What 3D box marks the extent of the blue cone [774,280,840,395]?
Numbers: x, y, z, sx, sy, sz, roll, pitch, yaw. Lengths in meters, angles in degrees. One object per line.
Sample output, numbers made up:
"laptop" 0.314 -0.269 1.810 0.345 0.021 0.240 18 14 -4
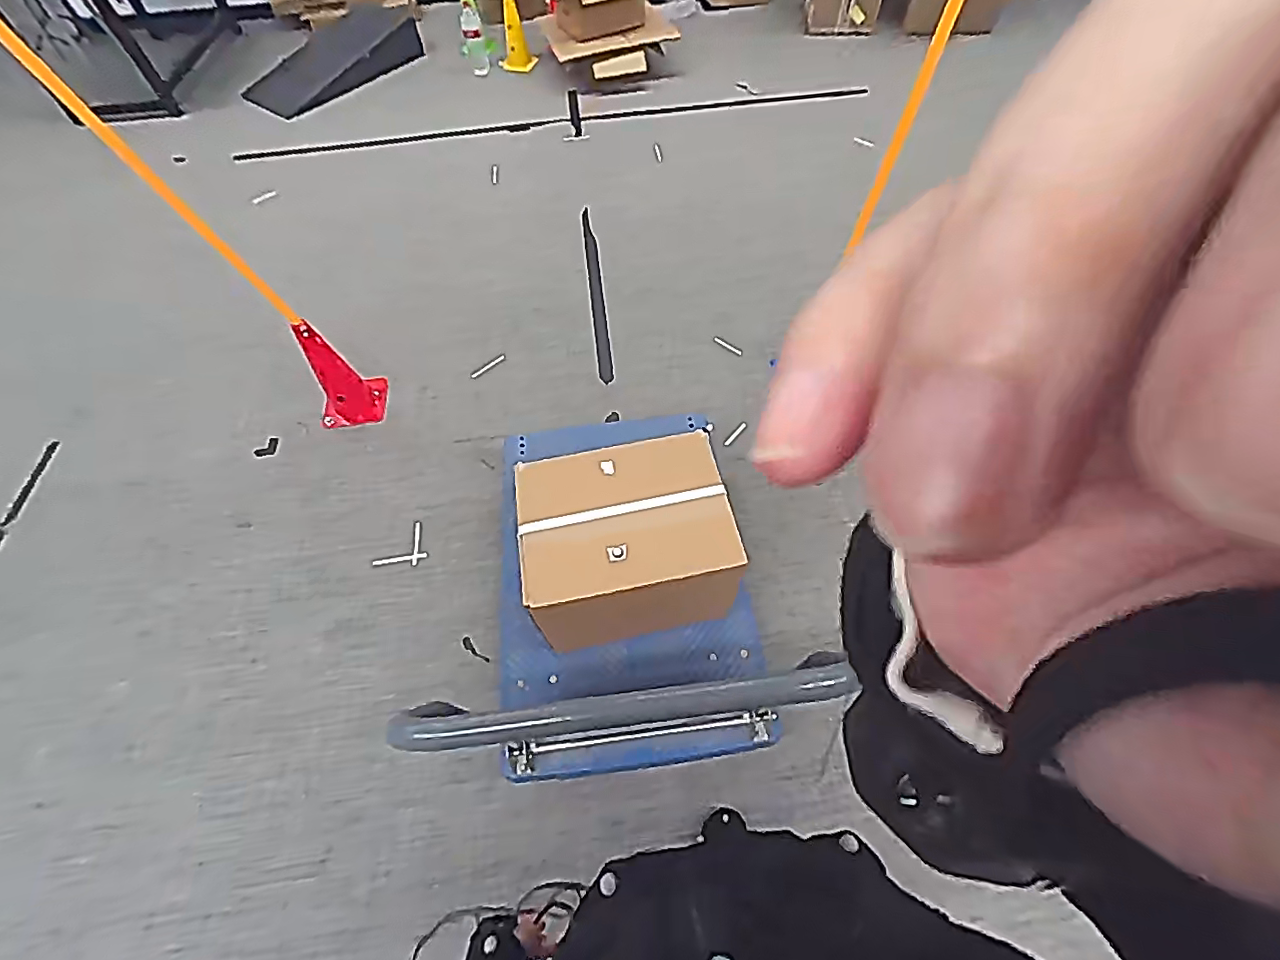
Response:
"blue cone" 0.571 -0.458 1.719 0.193 0.380 0.192 -11 57 -5
